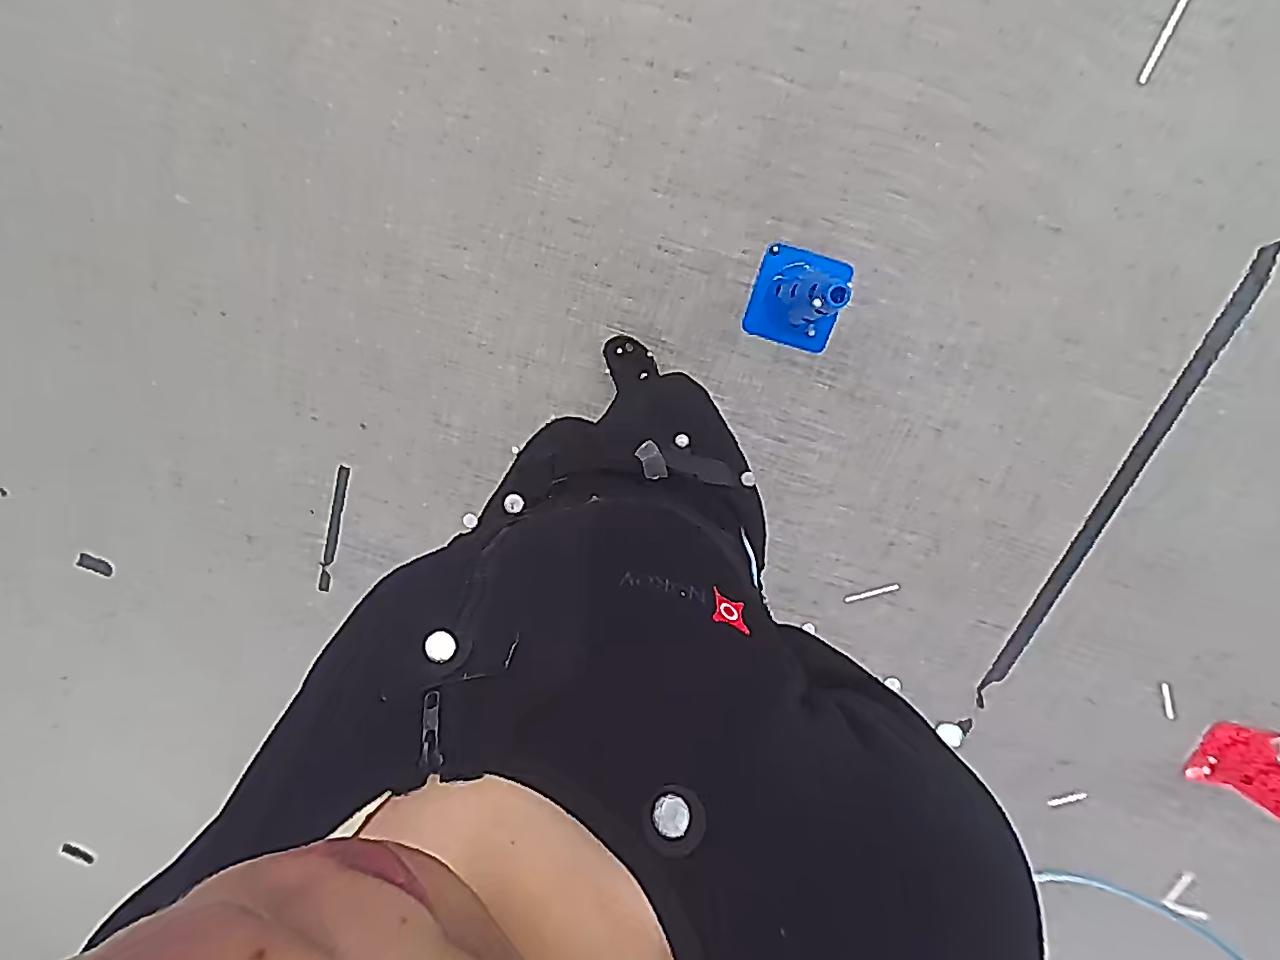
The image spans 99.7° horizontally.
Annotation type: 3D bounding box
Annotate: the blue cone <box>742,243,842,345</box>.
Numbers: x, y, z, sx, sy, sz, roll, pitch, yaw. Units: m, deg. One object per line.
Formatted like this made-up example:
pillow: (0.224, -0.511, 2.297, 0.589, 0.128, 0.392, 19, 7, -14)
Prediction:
blue cone: (0.322, -0.362, 1.047, 0.192, 0.380, 0.193, 19, 108, 0)

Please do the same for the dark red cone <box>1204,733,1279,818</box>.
dark red cone: (1.614, 0.812, 1.277, 0.201, 0.394, 0.202, 11, 108, 3)
